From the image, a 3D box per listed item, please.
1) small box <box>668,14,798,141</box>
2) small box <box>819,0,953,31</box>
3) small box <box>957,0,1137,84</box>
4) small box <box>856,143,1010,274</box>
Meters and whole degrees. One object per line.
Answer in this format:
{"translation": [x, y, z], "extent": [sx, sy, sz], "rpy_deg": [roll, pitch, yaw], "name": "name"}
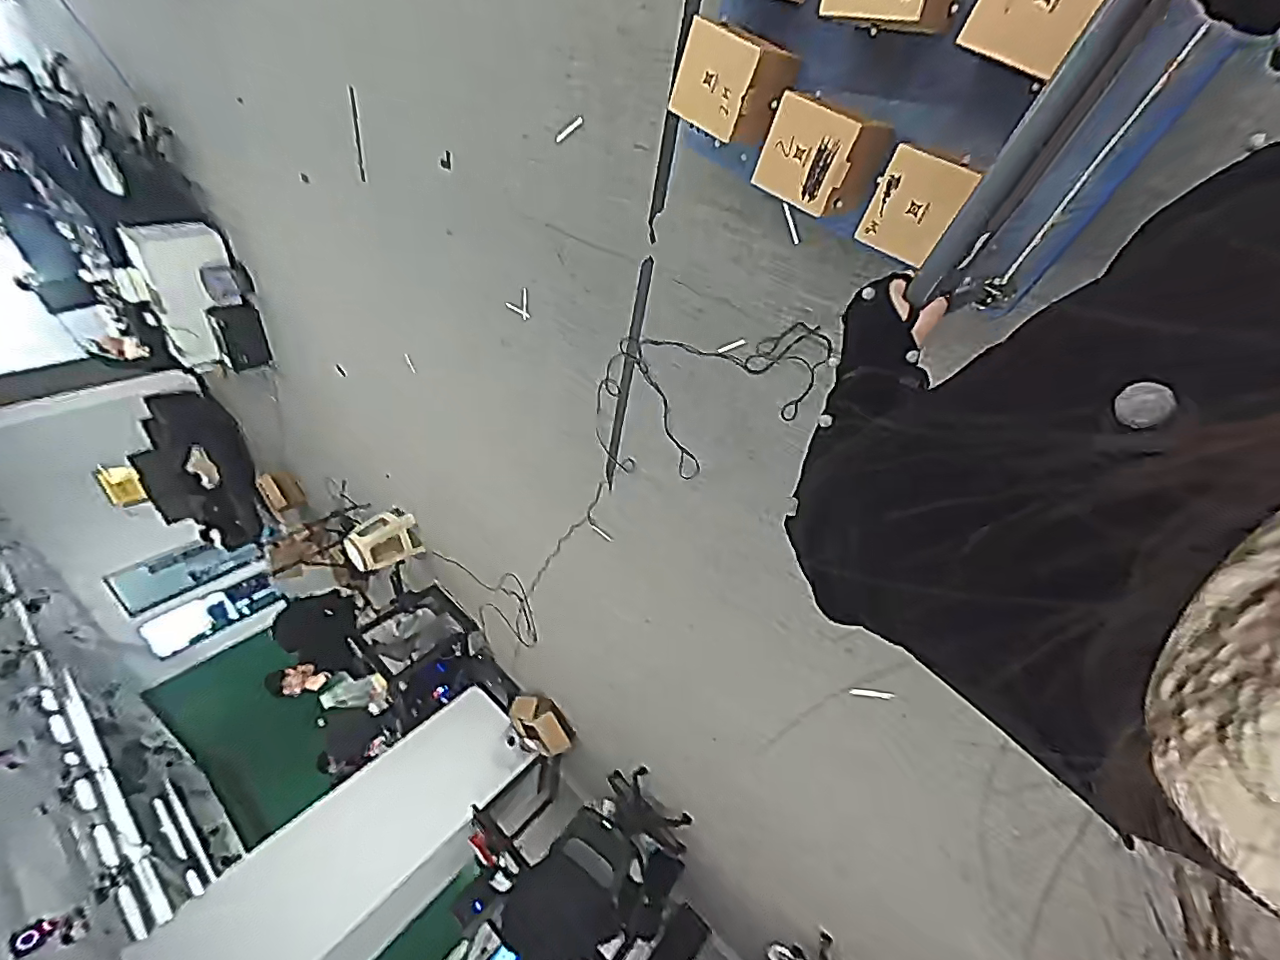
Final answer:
{"translation": [0.195, -0.838, 1.139], "extent": [0.179, 0.176, 0.168], "rpy_deg": [41, 137, 17], "name": "small box"}
{"translation": [0.433, -0.862, 0.893], "extent": [0.179, 0.176, 0.168], "rpy_deg": [32, 133, 28], "name": "small box"}
{"translation": [0.623, -0.714, 0.802], "extent": [0.179, 0.176, 0.168], "rpy_deg": [41, 136, 18], "name": "small box"}
{"translation": [0.545, -0.509, 1.004], "extent": [0.179, 0.176, 0.168], "rpy_deg": [38, 135, 21], "name": "small box"}
